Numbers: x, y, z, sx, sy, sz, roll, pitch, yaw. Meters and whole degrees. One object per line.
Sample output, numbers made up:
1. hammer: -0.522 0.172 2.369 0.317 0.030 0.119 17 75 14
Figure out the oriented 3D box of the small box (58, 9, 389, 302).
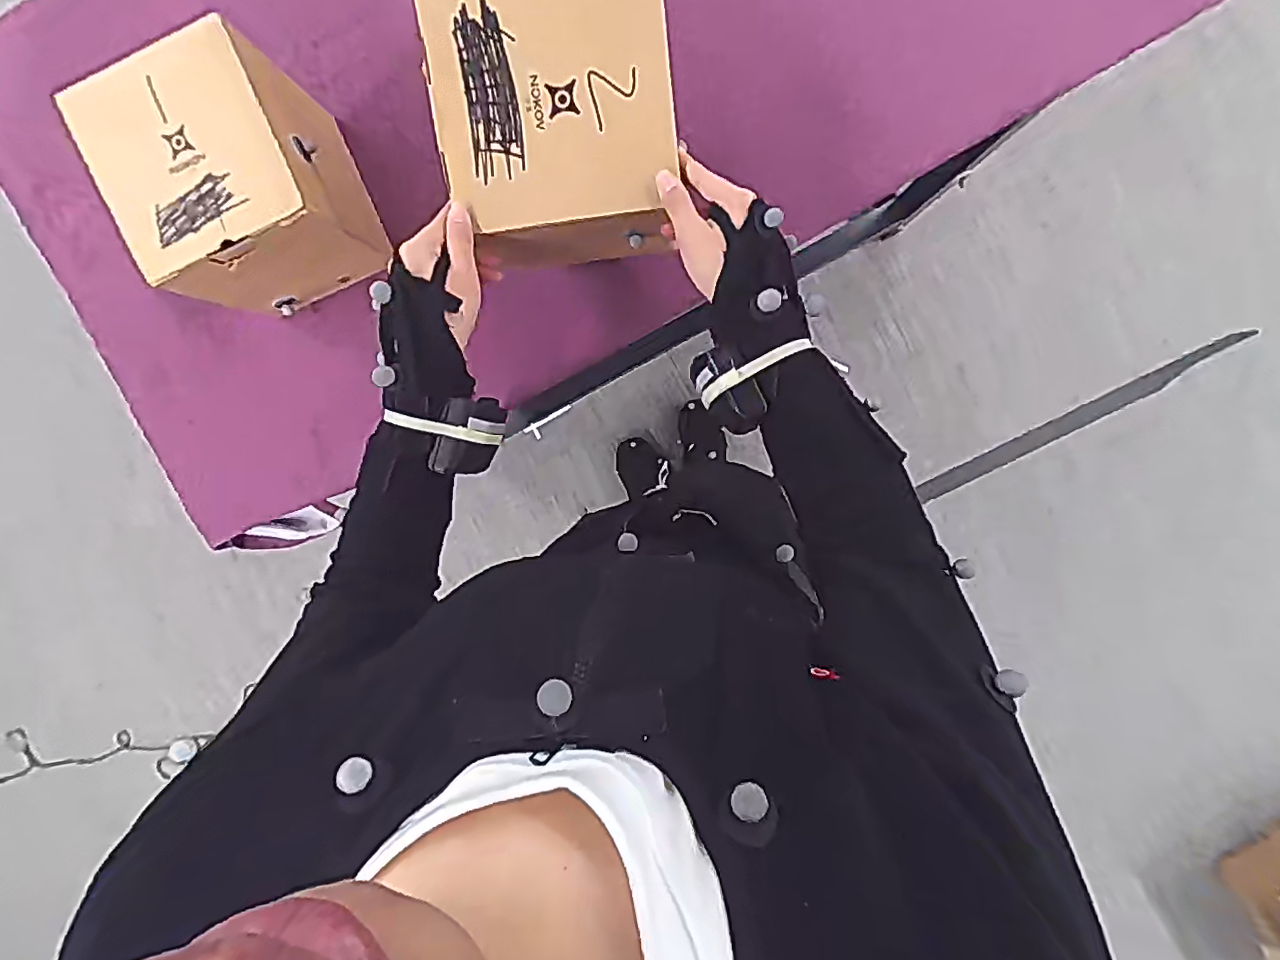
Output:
1. small box: -0.392 -0.297 0.547 0.168 0.176 0.179 -22 95 4
